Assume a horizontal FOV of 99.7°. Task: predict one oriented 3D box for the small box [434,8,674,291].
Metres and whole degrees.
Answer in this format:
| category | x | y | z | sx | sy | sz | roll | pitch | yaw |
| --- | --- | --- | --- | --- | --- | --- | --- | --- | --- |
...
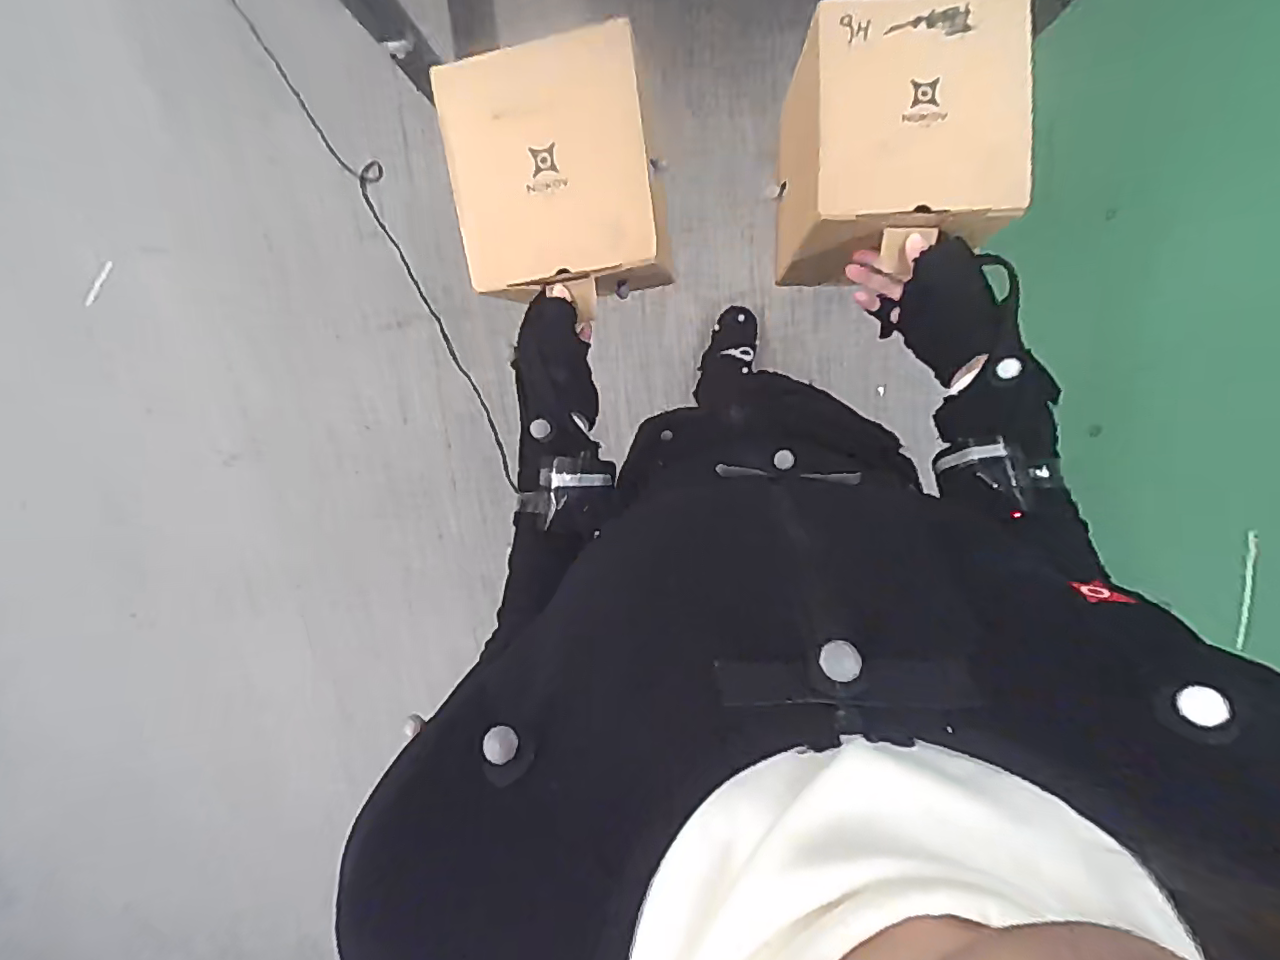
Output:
| category | x | y | z | sx | sy | sz | roll | pitch | yaw |
| --- | --- | --- | --- | --- | --- | --- | --- | --- | --- |
| small box | -0.064 | -0.286 | 0.519 | 0.168 | 0.176 | 0.179 | -7 | 102 | 11 |
